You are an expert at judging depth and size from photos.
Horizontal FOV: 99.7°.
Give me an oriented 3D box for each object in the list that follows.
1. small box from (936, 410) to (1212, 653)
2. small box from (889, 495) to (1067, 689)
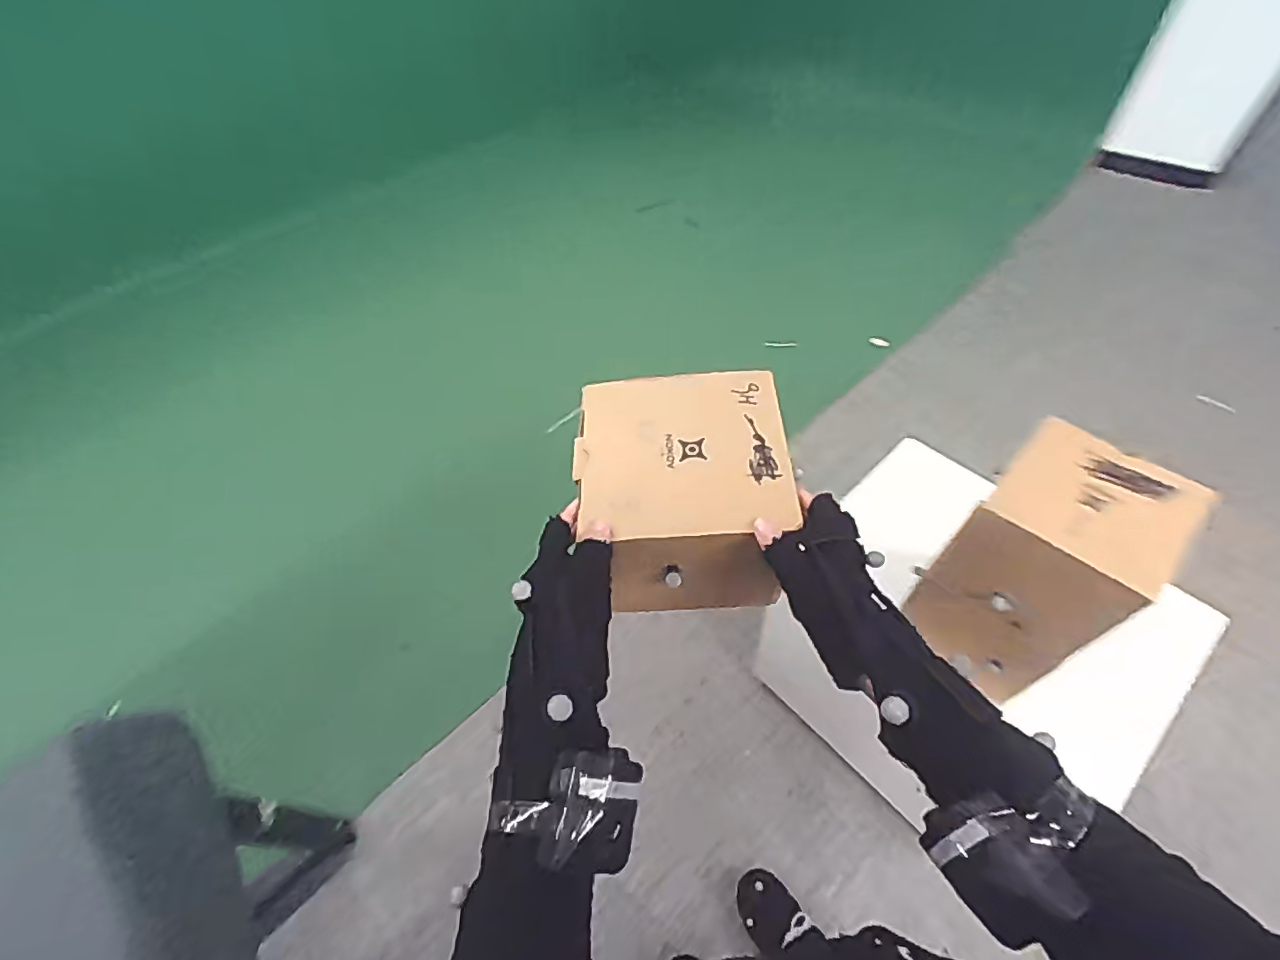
[{"bbox_3d":[0.474,0.059,0.616,0.168,0.176,0.179,35,62,28],"label":"small box"},{"bbox_3d":[0.481,0.161,0.746,0.179,0.176,0.168,35,64,30],"label":"small box"}]
